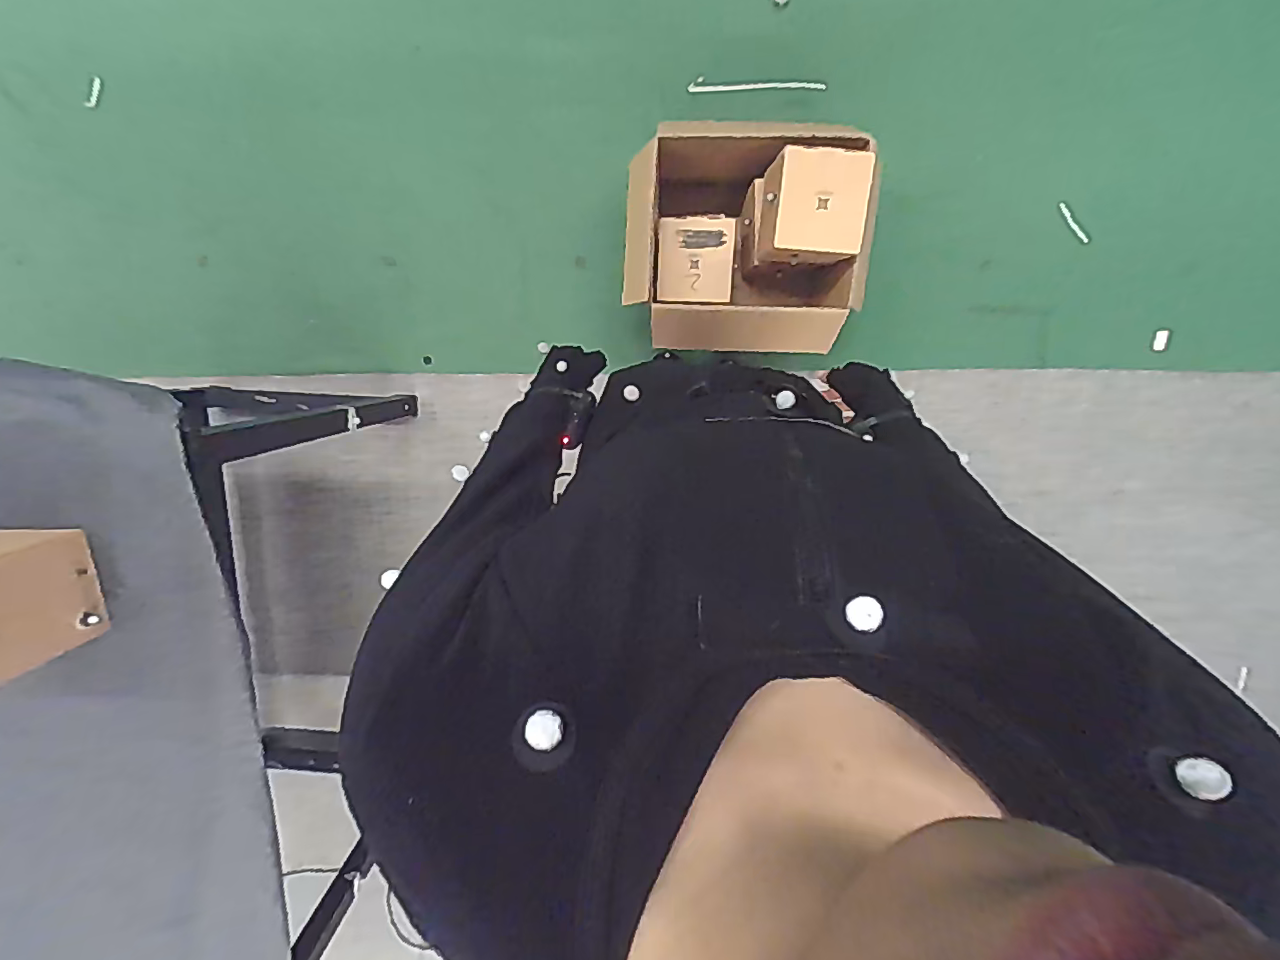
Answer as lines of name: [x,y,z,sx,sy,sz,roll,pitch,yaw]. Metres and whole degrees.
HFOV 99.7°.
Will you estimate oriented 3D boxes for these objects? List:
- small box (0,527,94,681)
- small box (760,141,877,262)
small box: [-0.906,0.166,0.734,0.179,0.176,0.168,0,104,4]
small box: [0.337,-0.534,1.061,0.168,0.176,0.179,4,104,0]
